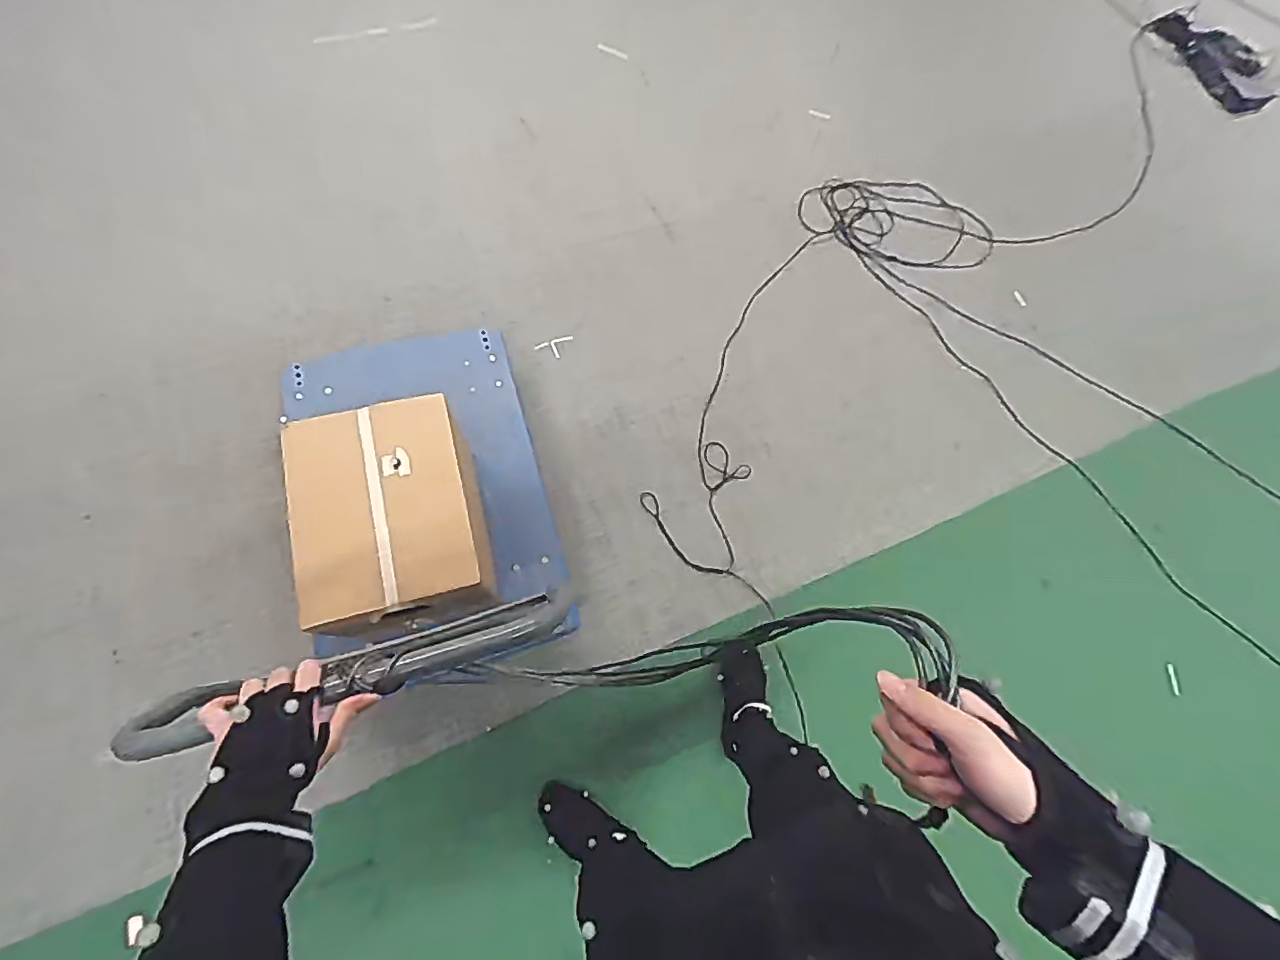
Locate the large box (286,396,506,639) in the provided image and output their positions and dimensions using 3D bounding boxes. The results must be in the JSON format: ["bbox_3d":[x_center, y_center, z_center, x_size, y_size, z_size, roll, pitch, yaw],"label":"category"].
[{"bbox_3d":[-0.502,0.094,1.164,0.320,0.320,0.408,-14,72,-12],"label":"large box"}]
